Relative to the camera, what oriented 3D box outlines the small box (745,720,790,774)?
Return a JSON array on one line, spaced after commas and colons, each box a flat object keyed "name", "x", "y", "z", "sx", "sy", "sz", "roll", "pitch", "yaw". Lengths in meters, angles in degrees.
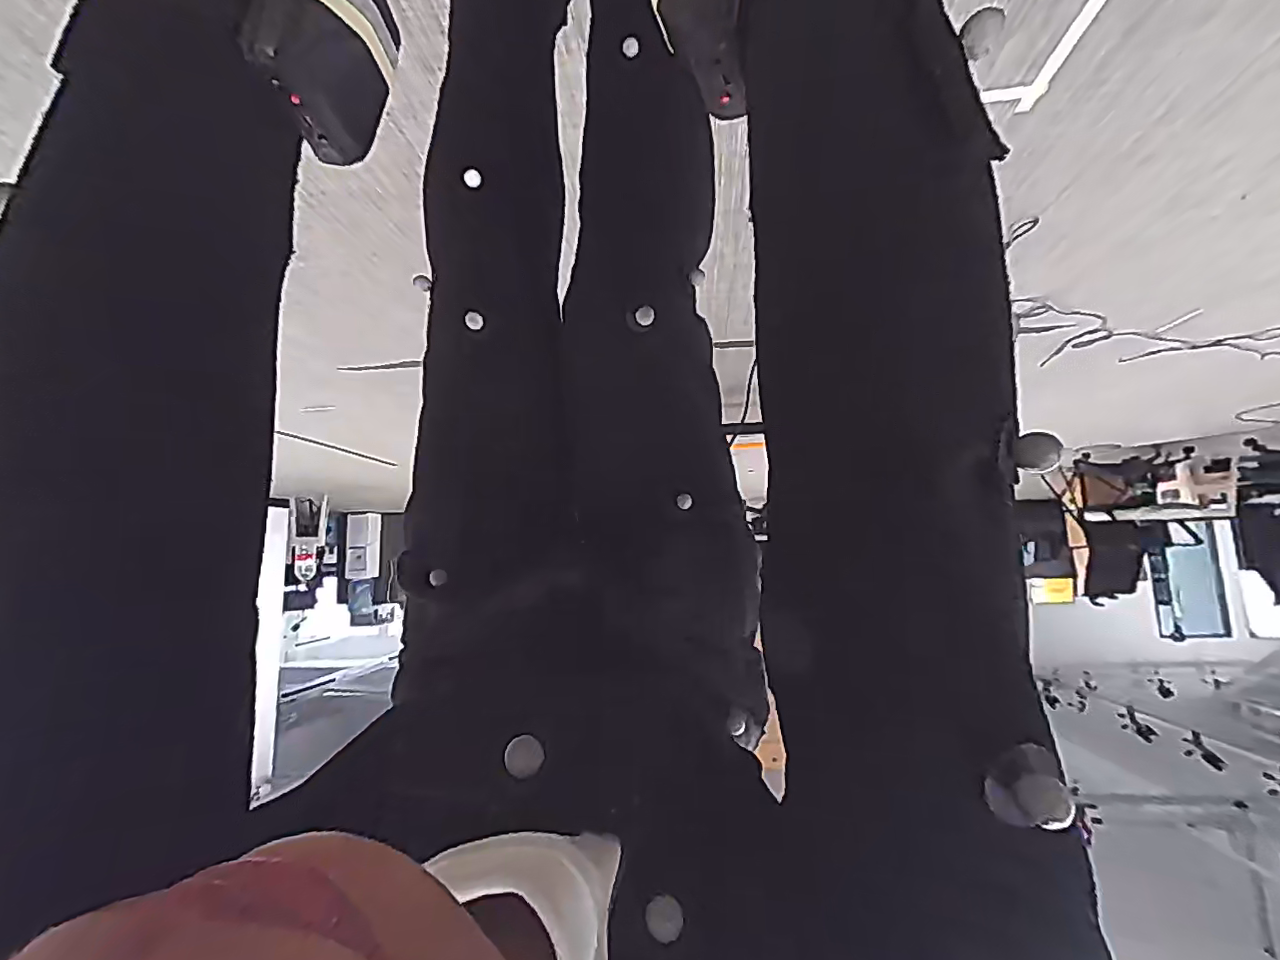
[{"name": "small box", "x": 0.552, "y": 1.155, "z": 2.351, "sx": 0.179, "sy": 0.176, "sz": 0.168, "roll": -2, "pitch": 172, "yaw": 9}]
